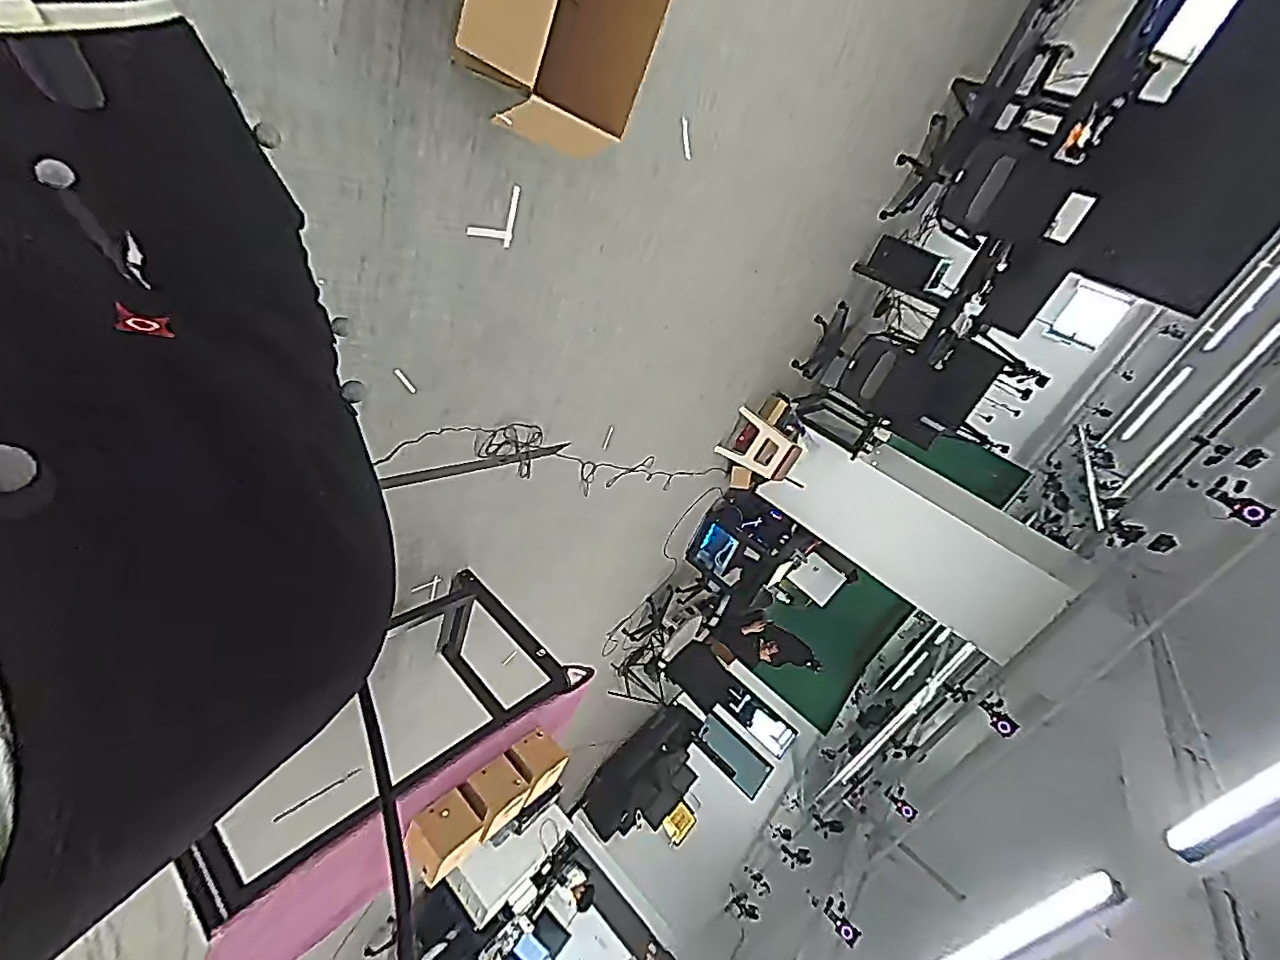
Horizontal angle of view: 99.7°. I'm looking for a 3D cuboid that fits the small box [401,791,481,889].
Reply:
[{"bbox_3d":[-0.658,1.173,1.775,0.168,0.176,0.179,-16,138,-54],"label":"small box"}]
